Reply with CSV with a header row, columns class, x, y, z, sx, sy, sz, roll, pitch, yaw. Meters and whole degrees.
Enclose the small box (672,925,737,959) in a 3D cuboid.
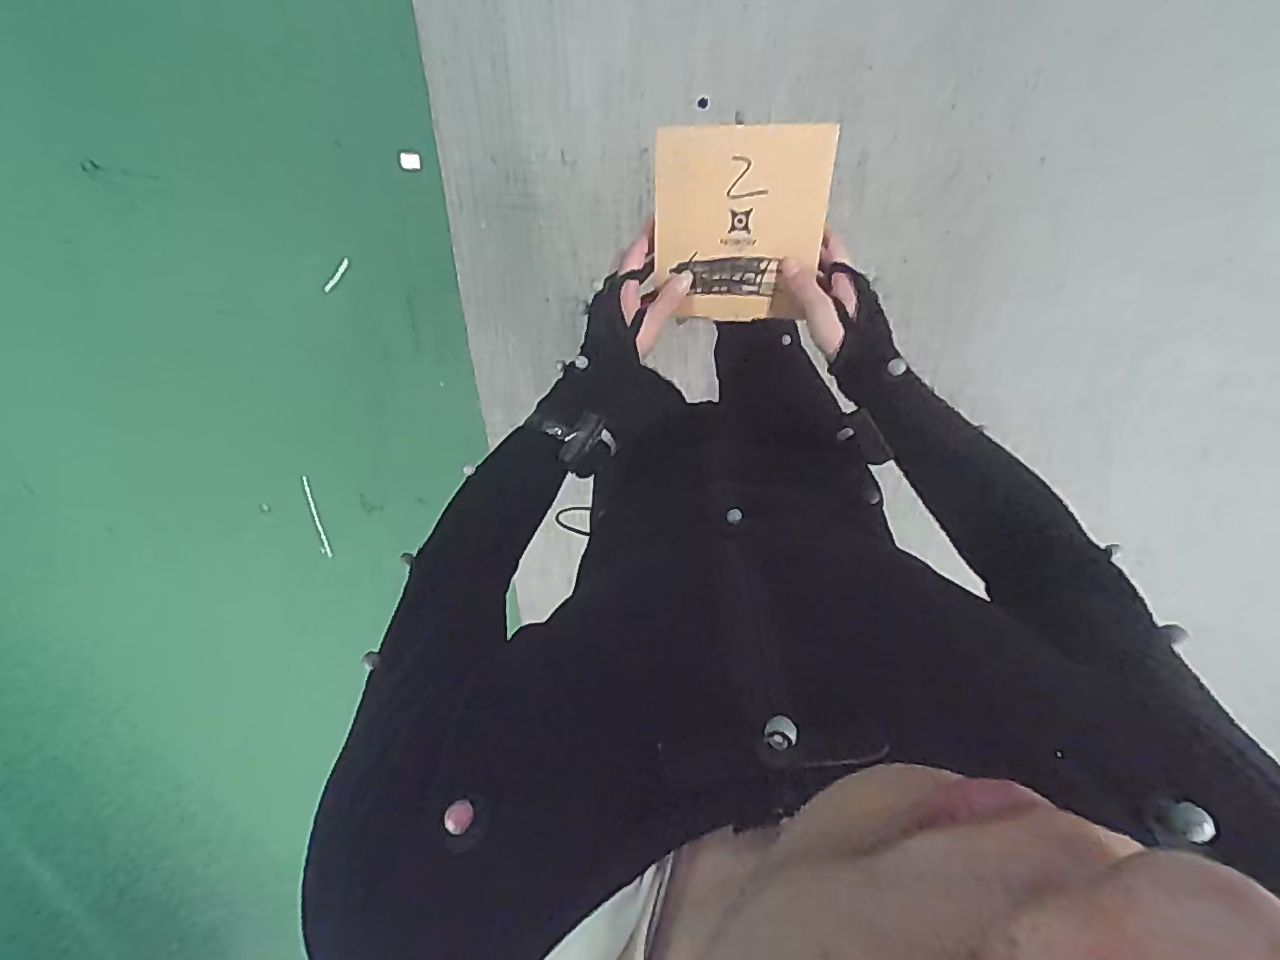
class,x,y,z,sx,sy,sz,roll,pitch,yaw
small box,0.163,1.289,1.385,0.168,0.176,0.179,0,117,6
